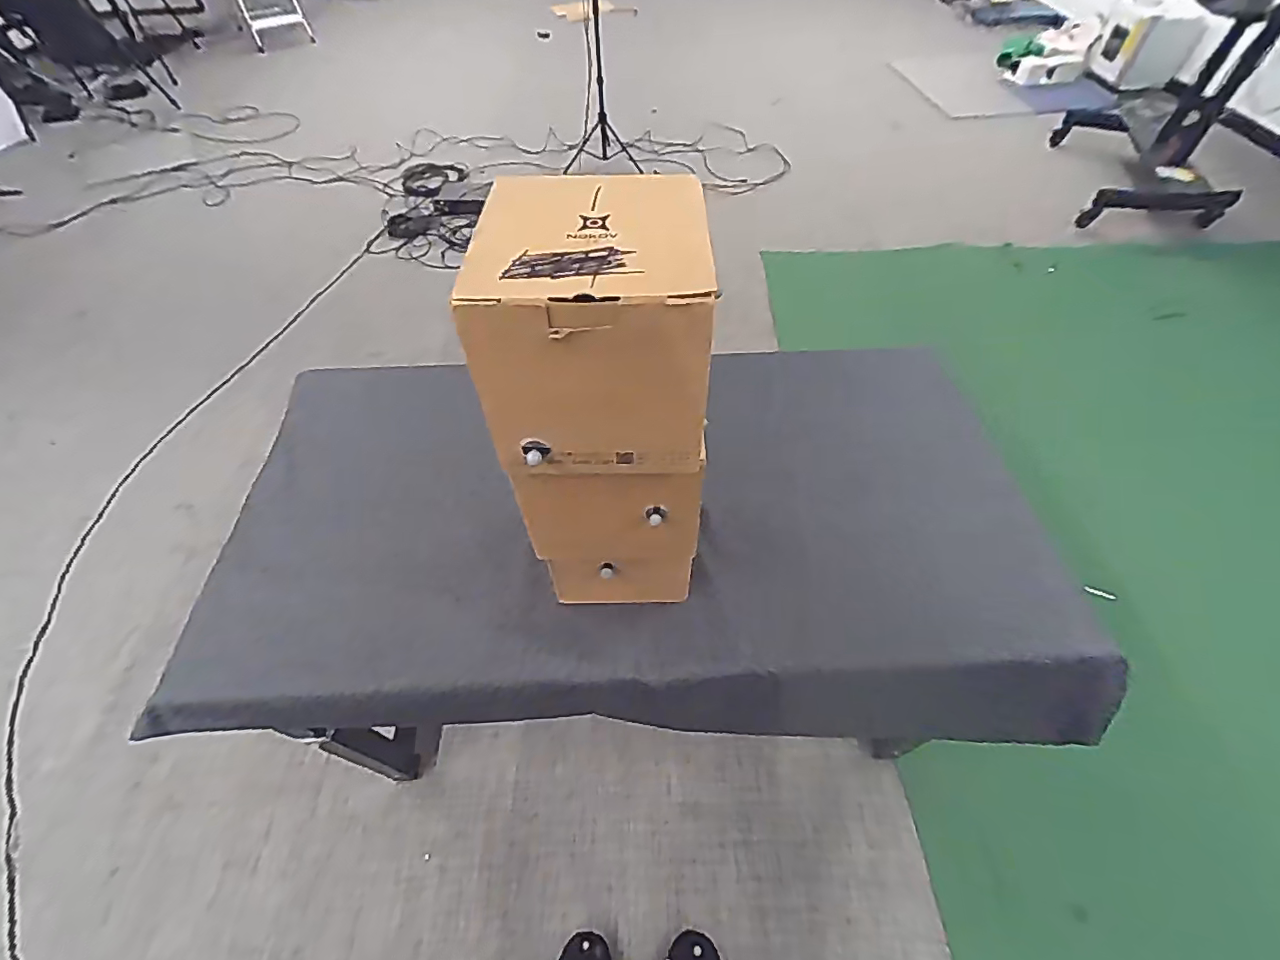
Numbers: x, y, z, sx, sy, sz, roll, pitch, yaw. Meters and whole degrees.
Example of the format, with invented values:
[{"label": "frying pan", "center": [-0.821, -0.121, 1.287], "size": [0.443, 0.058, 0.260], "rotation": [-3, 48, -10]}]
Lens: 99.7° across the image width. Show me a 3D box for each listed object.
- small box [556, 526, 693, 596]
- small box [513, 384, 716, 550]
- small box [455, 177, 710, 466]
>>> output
[{"label": "small box", "center": [-0.025, 0.046, 0.731], "size": [0.179, 0.176, 0.168], "rotation": [-3, 52, -2]}, {"label": "small box", "center": [-0.027, -0.039, 0.569], "size": [0.179, 0.176, 0.168], "rotation": [-4, 53, -2]}, {"label": "small box", "center": [-0.033, -0.126, 0.449], "size": [0.168, 0.176, 0.179], "rotation": [0, 52, 1]}]
